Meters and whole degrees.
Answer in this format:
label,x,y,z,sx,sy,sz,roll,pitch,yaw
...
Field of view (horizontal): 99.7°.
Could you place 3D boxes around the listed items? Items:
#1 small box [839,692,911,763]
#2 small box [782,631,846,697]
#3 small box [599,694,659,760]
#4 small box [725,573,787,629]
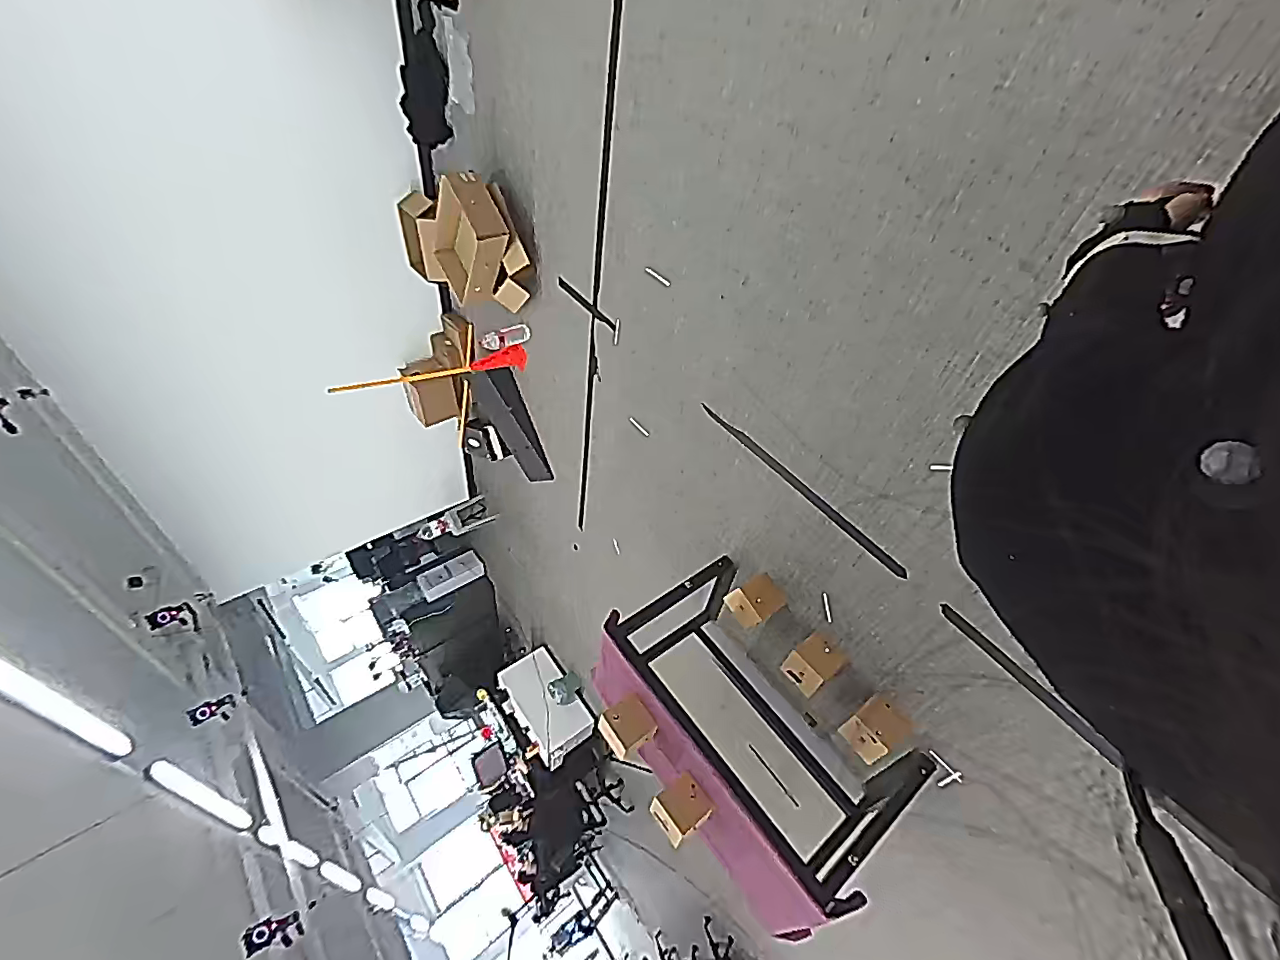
label,x,y,z,sx,sy,sz,roll,pitch,yaw
small box,0.933,0.980,2.144,0.168,0.176,0.179,46,147,28
small box,0.740,0.776,2.290,0.168,0.176,0.179,45,144,29
small box,-0.049,1.019,2.247,0.179,0.176,0.168,46,147,27
small box,0.525,0.541,2.451,0.179,0.176,0.168,54,148,14
